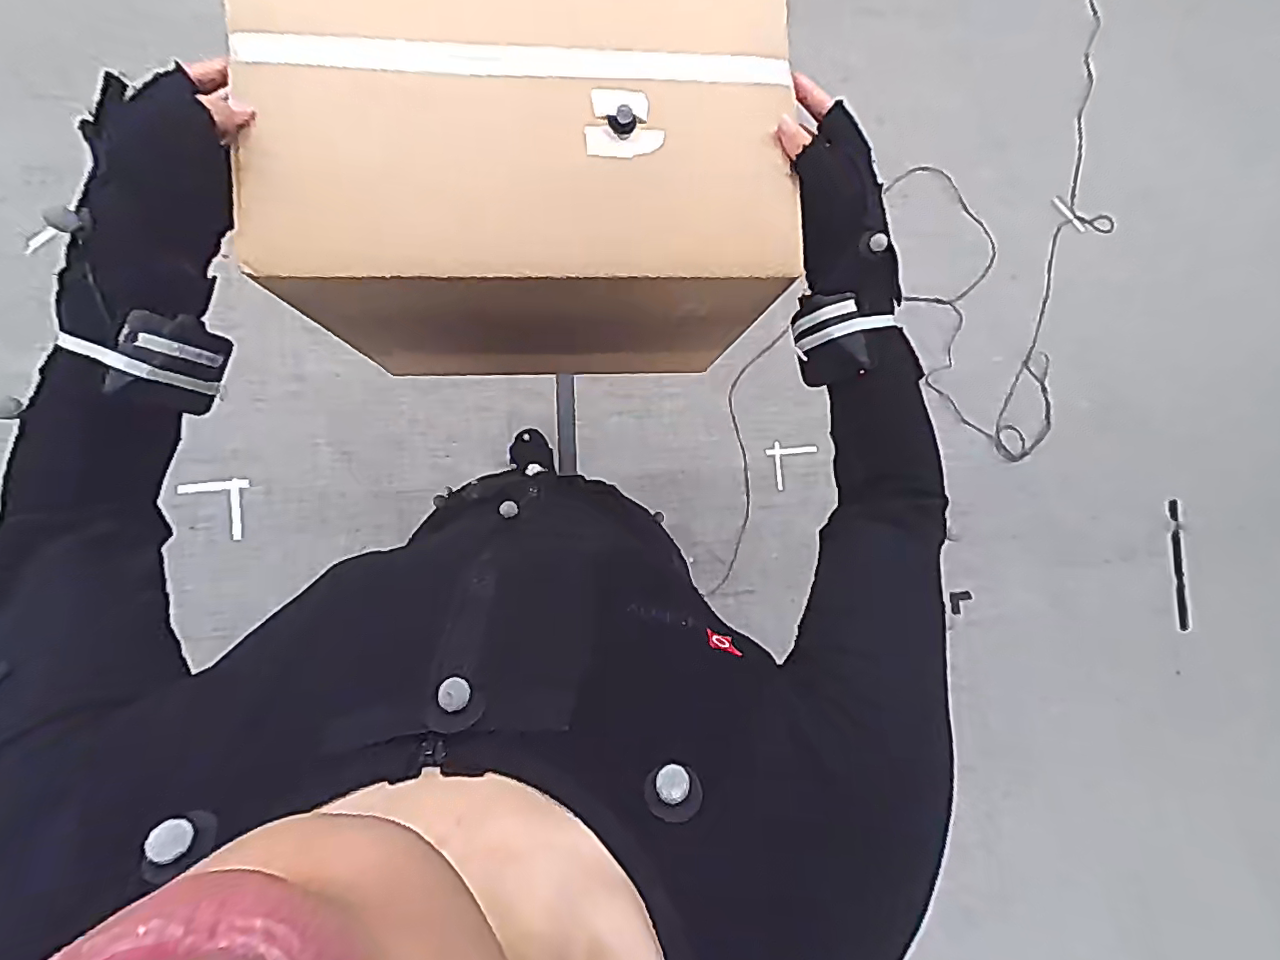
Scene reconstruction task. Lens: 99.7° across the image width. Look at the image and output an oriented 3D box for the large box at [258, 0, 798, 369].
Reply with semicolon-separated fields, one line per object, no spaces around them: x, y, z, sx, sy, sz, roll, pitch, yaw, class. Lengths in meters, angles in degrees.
-0.098;-0.309;0.560;0.408;0.320;0.320;-3;89;-7;large box
